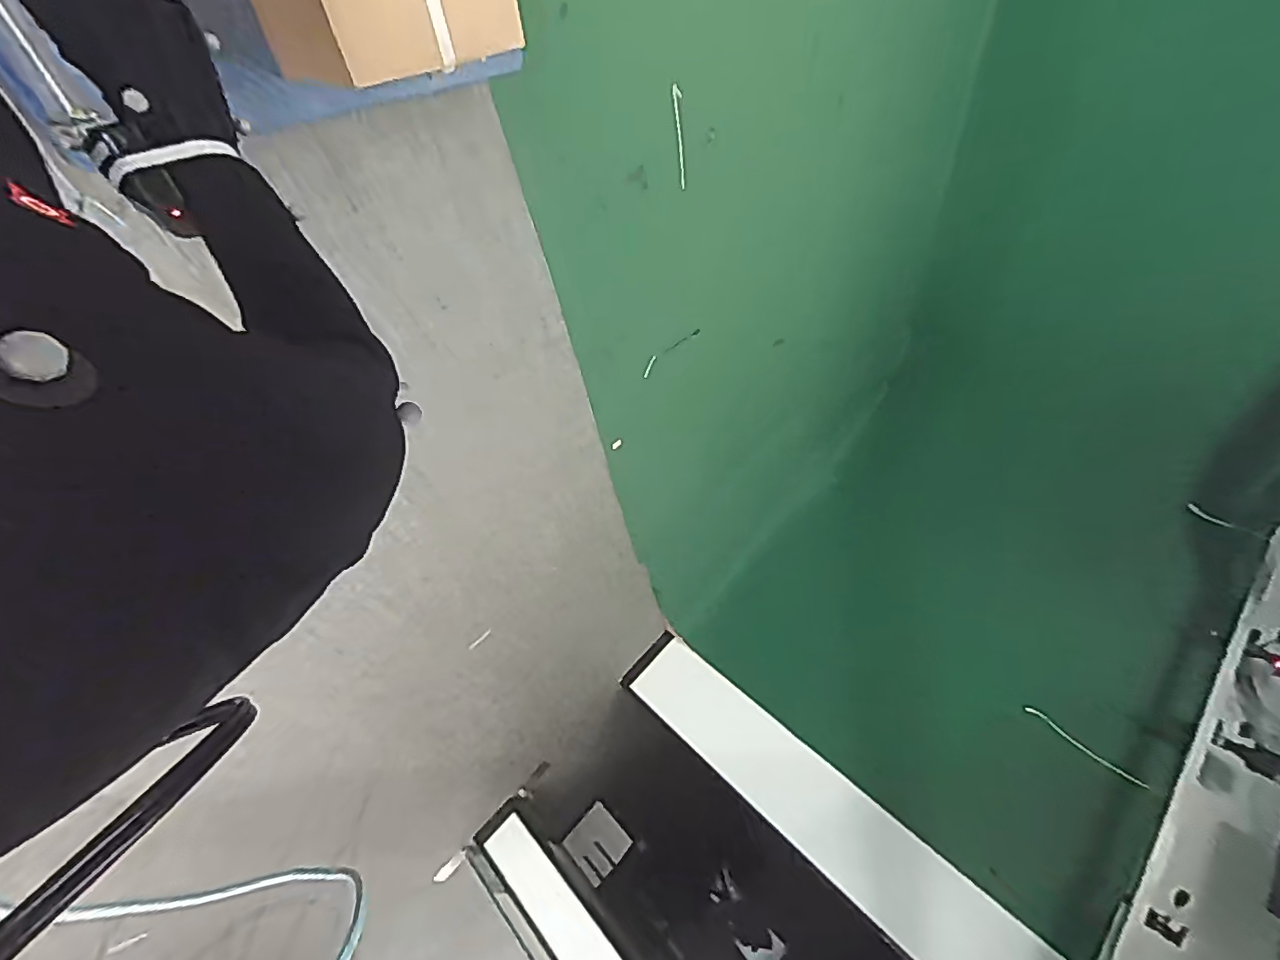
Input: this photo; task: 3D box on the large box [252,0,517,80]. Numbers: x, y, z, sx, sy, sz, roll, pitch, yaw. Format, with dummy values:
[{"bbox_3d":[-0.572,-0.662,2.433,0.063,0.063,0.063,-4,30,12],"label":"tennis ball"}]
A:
[{"bbox_3d":[-0.442,-0.875,0.801,0.320,0.320,0.408,-39,142,-26],"label":"large box"}]
